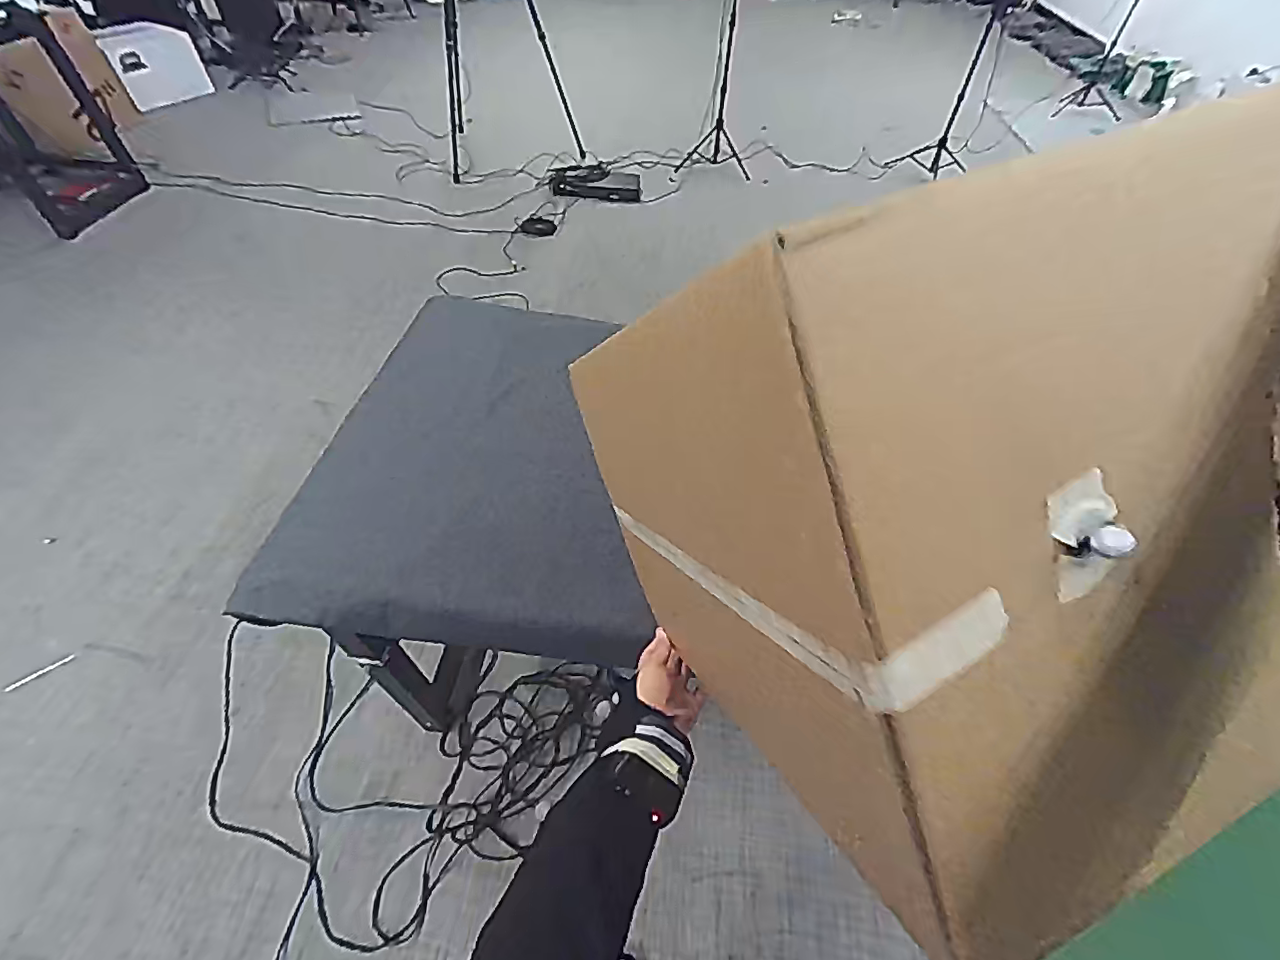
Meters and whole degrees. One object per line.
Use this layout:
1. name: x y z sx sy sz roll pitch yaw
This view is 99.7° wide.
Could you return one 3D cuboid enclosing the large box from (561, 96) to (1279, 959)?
1. large box: 0.164 -0.003 0.417 0.320 0.320 0.408 -23 13 -15
